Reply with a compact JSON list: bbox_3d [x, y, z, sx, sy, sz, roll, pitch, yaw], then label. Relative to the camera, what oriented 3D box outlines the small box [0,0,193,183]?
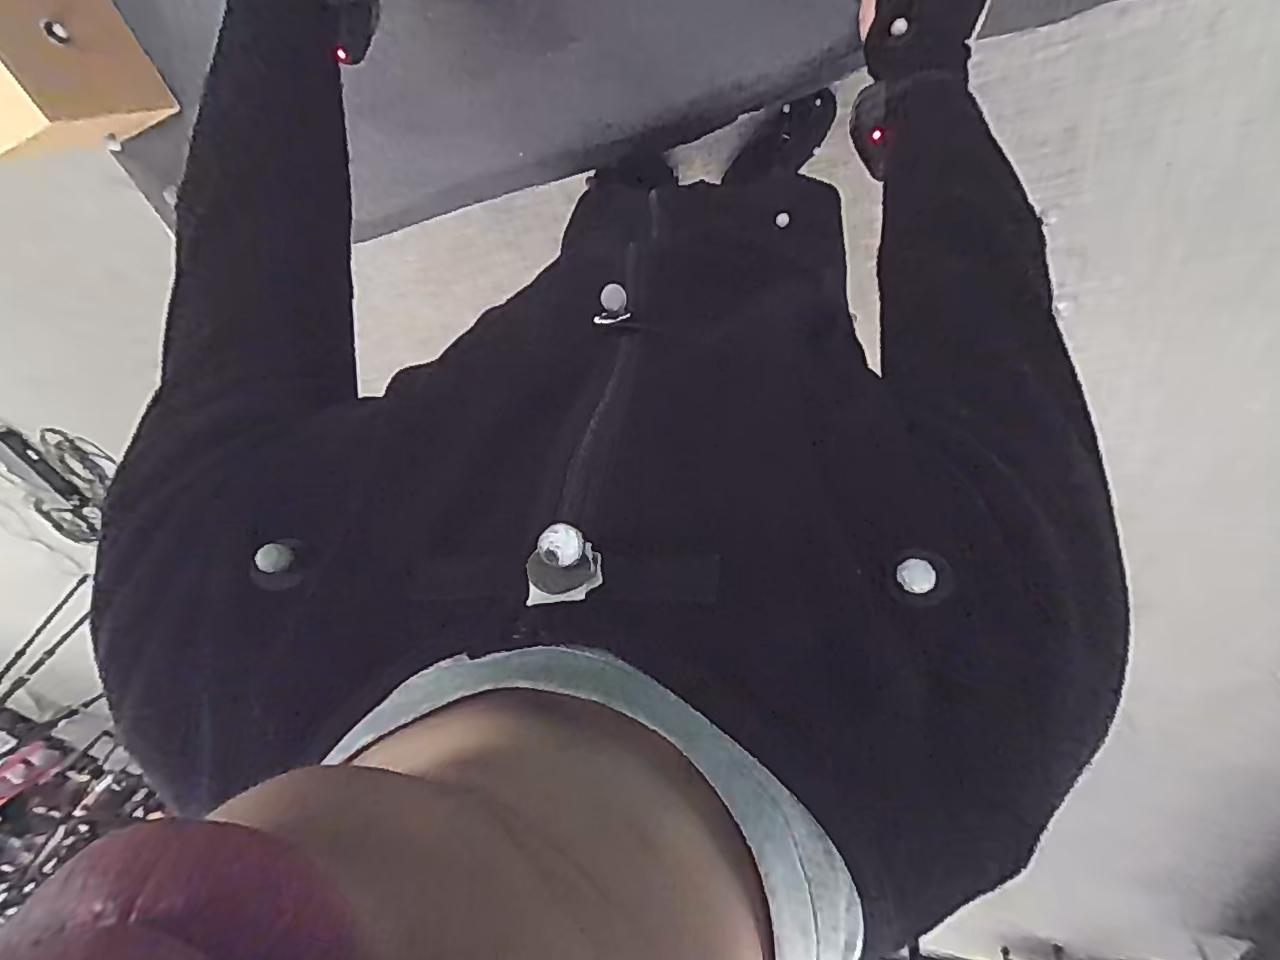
[{"bbox_3d":[-0.707,-0.484,0.642,0.168,0.176,0.179,-6,127,21],"label":"small box"}]
